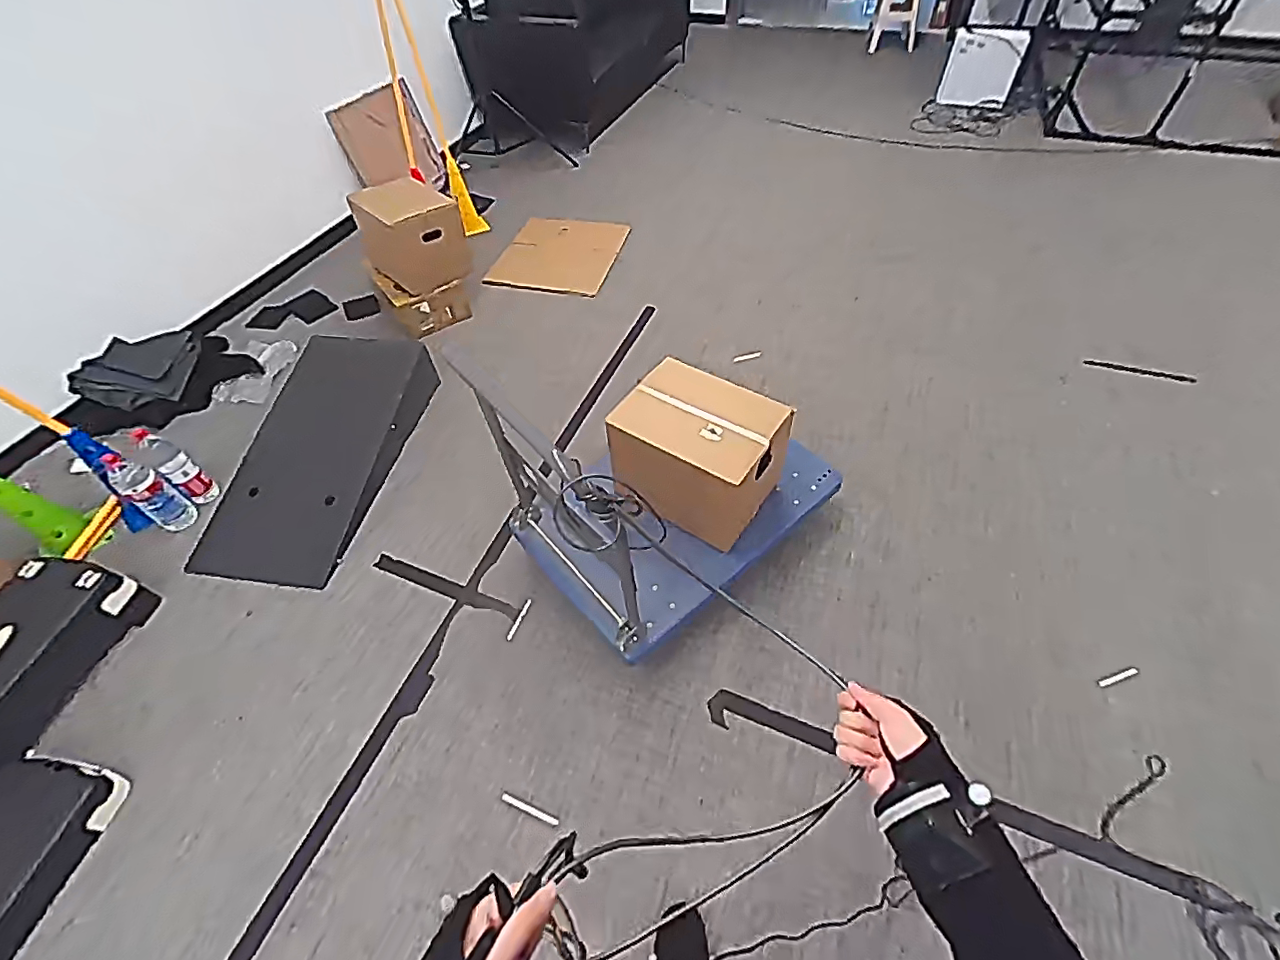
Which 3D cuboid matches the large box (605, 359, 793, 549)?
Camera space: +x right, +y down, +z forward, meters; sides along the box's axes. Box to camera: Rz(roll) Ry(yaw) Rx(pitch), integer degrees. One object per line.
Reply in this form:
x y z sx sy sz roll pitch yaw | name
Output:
0.156 -0.077 1.528 0.408 0.320 0.320 28 59 22 | large box
